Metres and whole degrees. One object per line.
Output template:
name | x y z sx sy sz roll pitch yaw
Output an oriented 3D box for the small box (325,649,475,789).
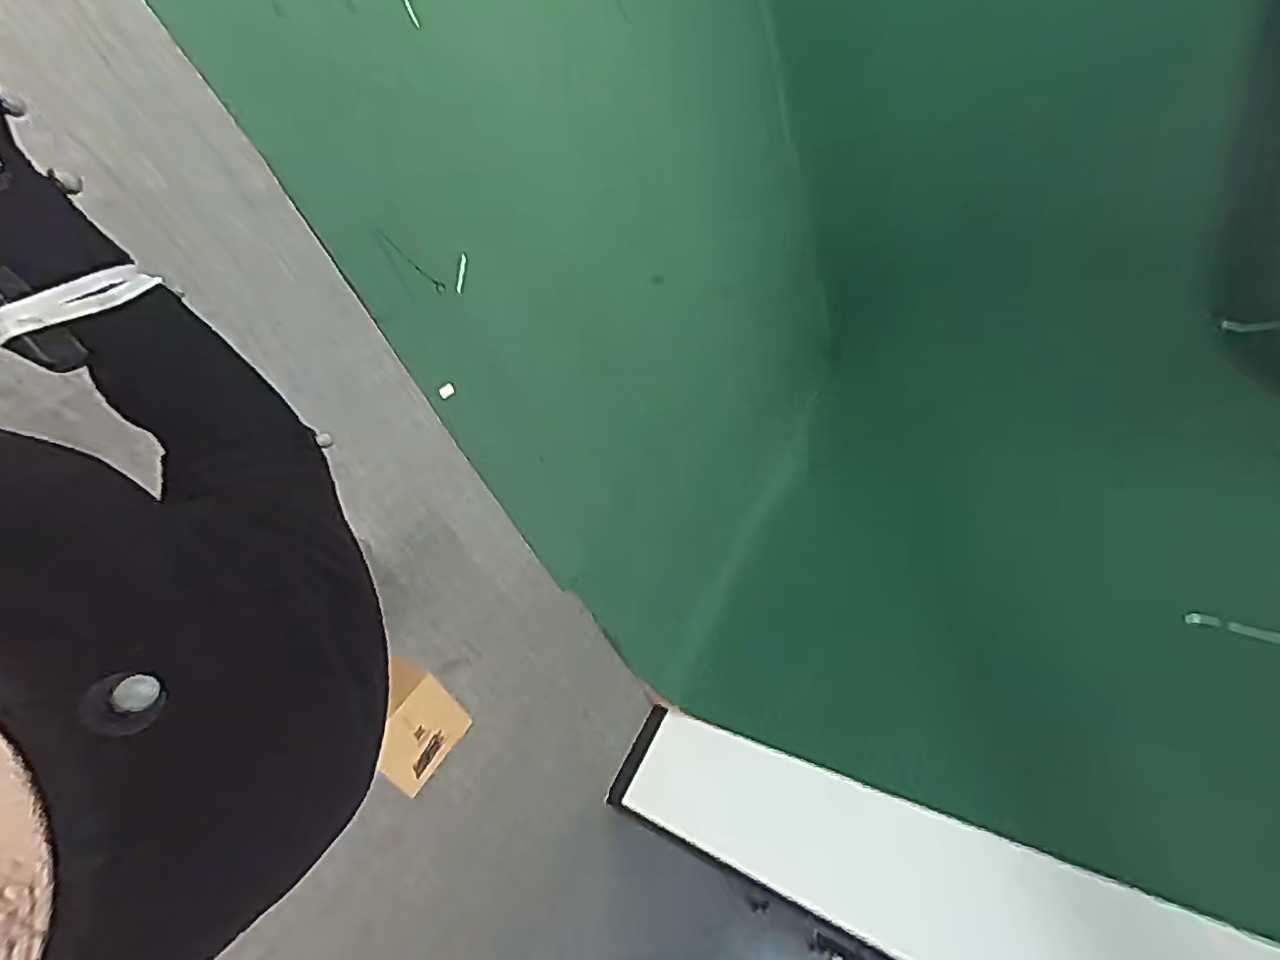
small box | -0.469 0.461 1.066 0.168 0.176 0.179 -51 133 -37
